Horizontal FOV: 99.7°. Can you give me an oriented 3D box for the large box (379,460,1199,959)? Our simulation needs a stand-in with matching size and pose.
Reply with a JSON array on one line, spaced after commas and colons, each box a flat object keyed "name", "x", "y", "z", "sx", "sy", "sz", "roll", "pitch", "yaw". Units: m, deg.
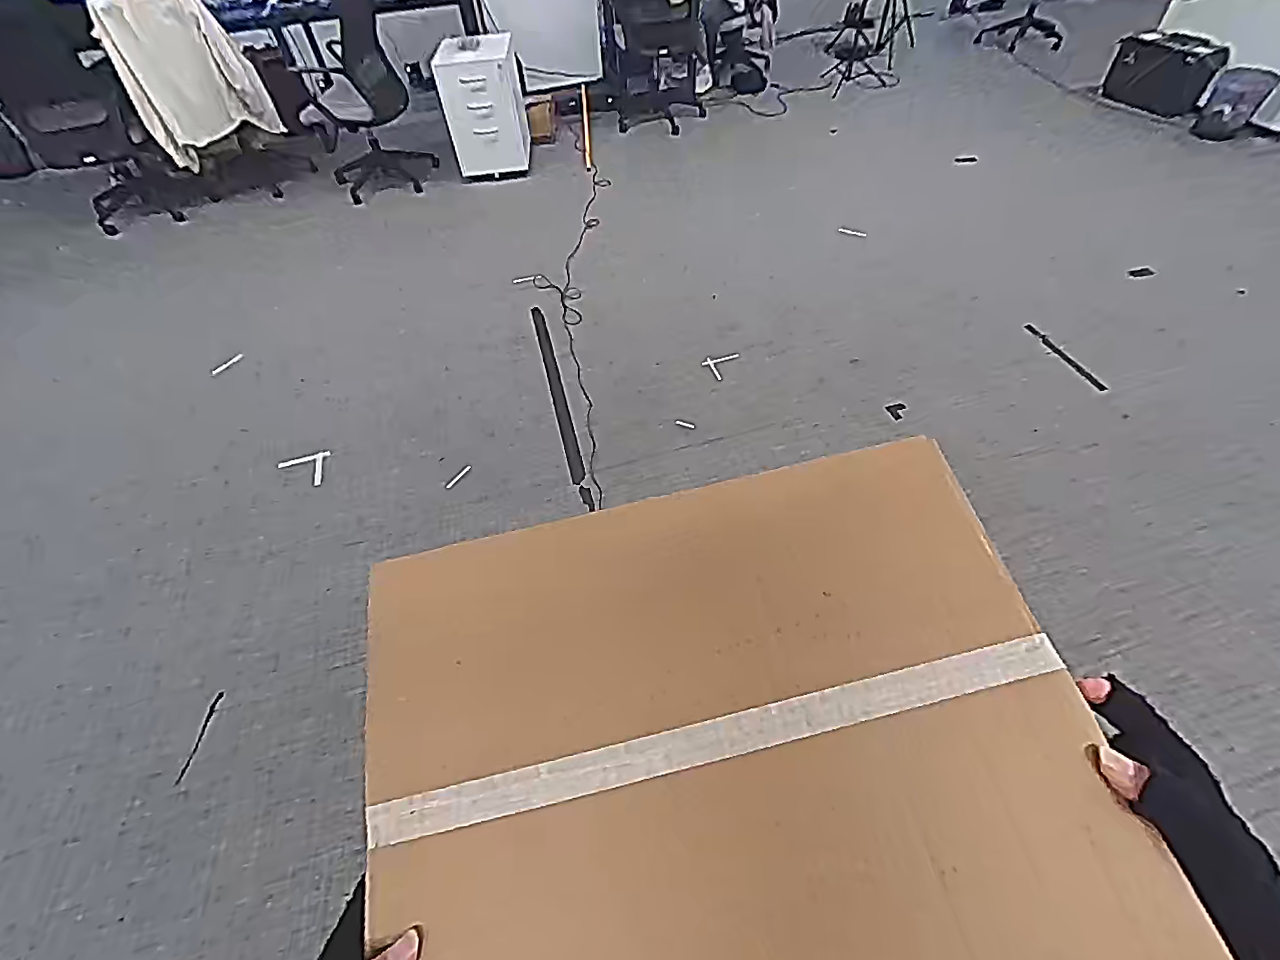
[{"name": "large box", "x": 0.058, "y": 0.229, "z": 0.447, "sx": 0.408, "sy": 0.320, "sz": 0.320, "roll": -14, "pitch": 61, "yaw": -2}]
